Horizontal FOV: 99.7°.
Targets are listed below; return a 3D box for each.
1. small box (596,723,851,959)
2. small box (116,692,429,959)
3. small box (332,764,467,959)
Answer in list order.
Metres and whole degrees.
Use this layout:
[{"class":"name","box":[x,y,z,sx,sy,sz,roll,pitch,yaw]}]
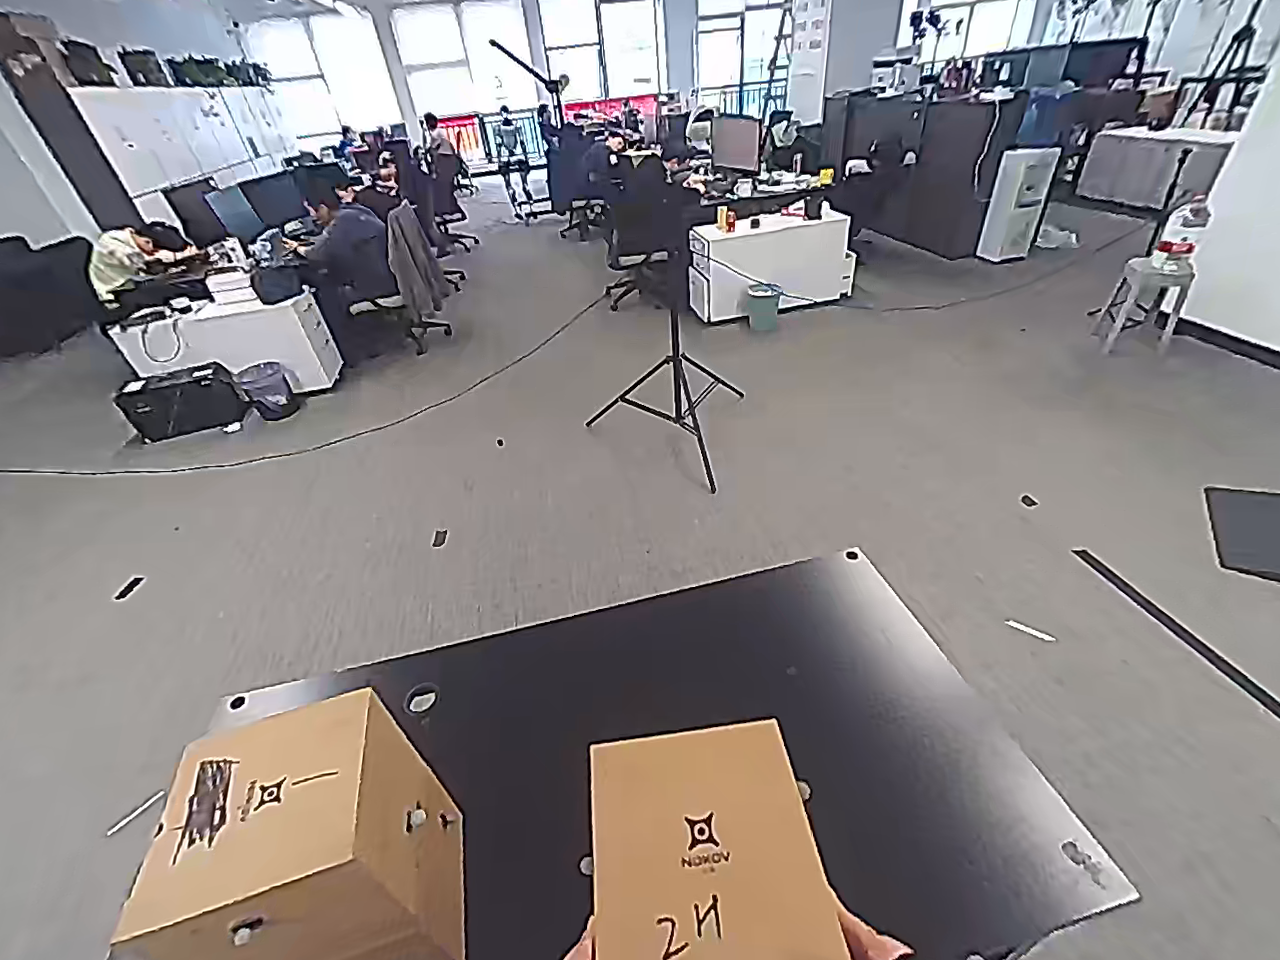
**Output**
[{"class":"small box","box":[0.055,0.337,0.451,0.168,0.176,0.179,-8,37,-1]},{"class":"small box","box":[-0.324,0.348,0.526,0.179,0.176,0.168,-15,37,-11]},{"class":"small box","box":[-0.308,0.477,0.628,0.168,0.176,0.179,-15,39,-10]}]
